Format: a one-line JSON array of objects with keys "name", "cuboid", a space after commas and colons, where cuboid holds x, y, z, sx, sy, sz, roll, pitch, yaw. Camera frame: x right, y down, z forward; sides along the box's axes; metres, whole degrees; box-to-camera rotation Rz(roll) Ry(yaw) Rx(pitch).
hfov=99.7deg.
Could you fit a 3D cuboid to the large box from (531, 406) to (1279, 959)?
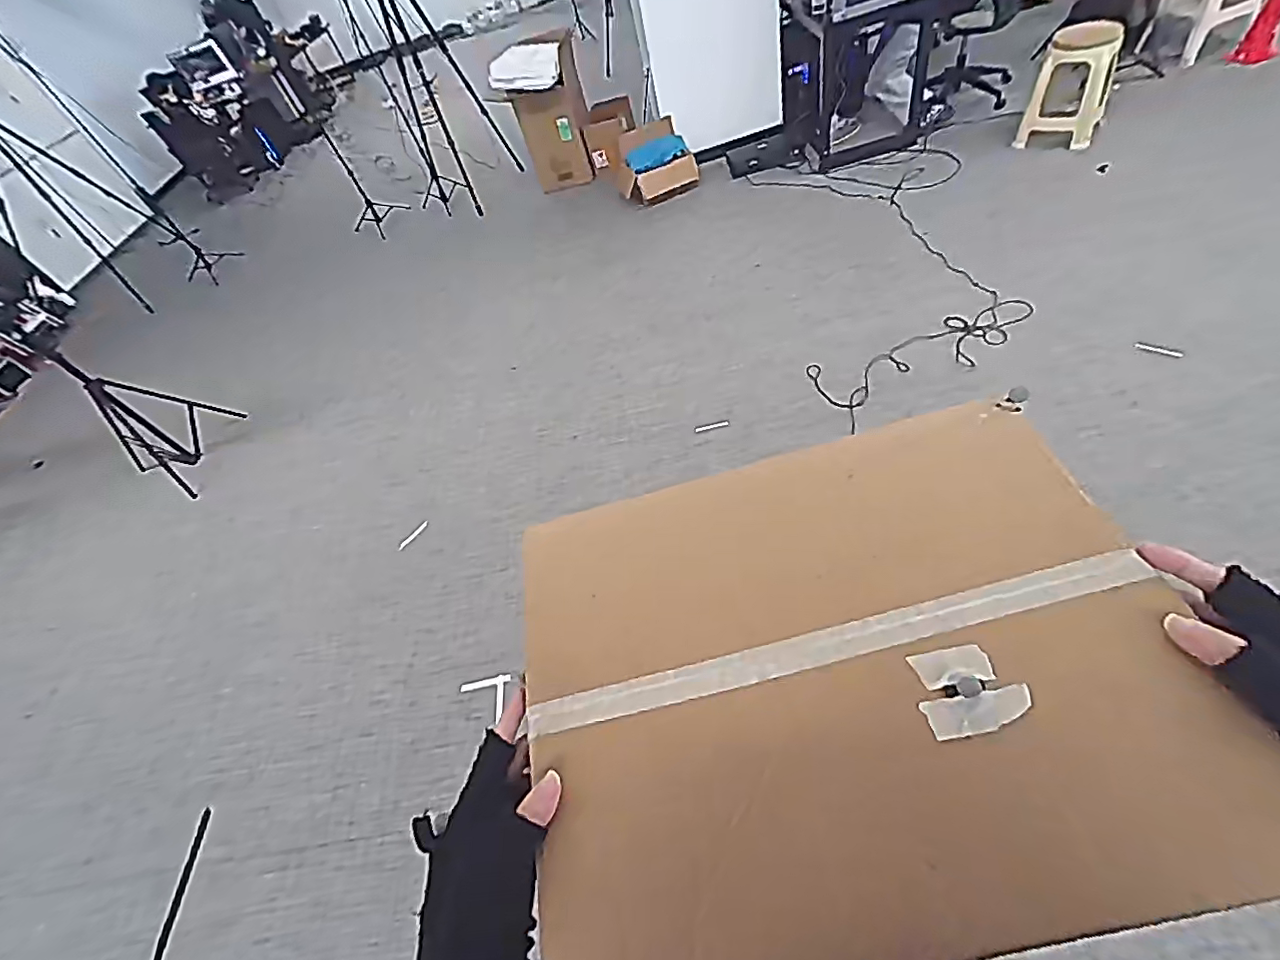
[{"name": "large box", "cuboid": [0.154, 0.197, 0.483, 0.408, 0.320, 0.320, -16, 54, 4]}]
